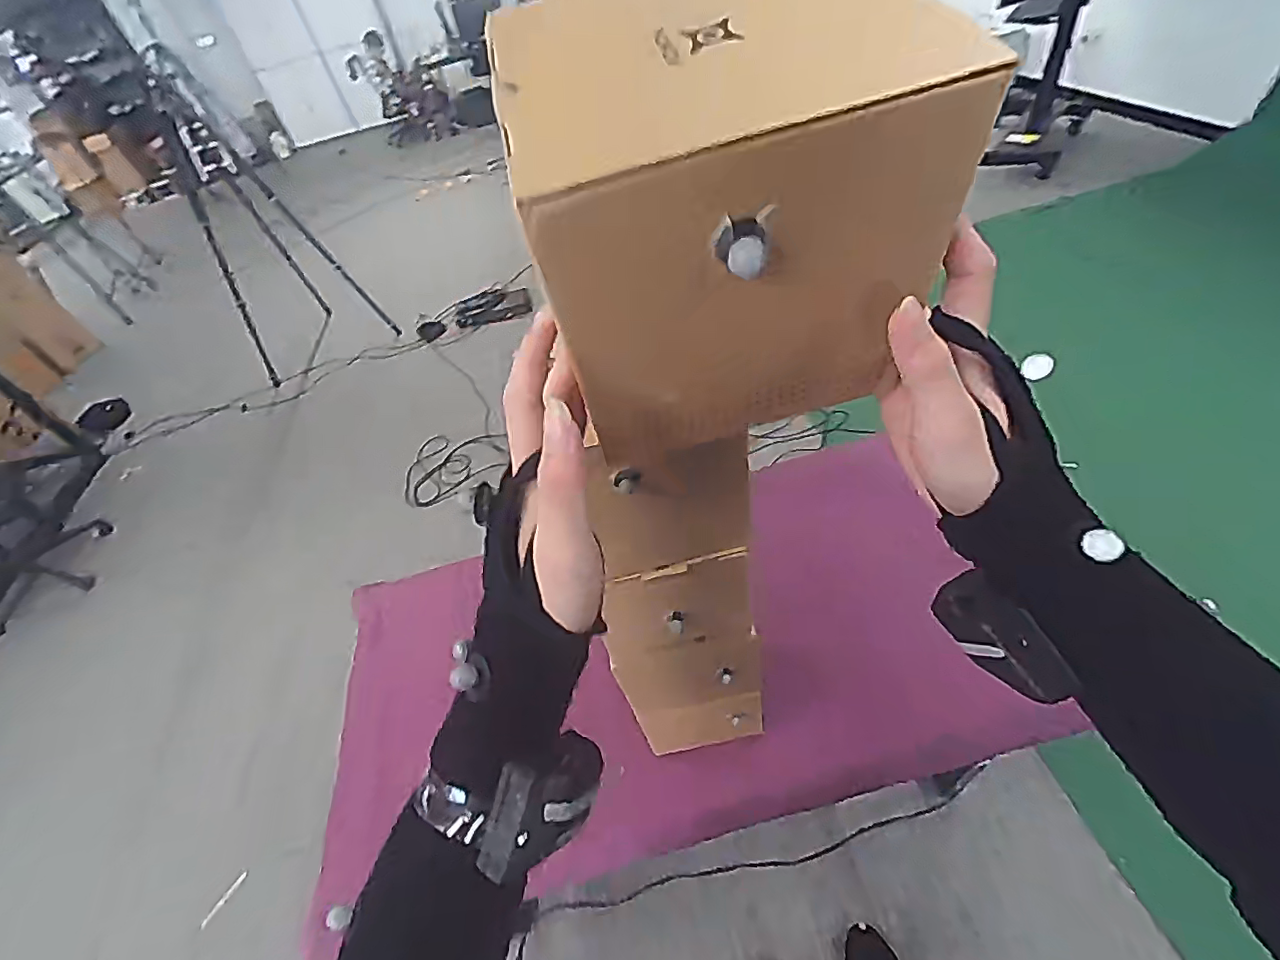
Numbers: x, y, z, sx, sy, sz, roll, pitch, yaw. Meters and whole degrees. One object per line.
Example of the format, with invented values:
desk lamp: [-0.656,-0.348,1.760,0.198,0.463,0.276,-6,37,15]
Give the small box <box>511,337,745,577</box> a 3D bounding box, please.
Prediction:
small box: [-0.009,-0.031,0.510,0.179,0.176,0.168,-14,45,0]

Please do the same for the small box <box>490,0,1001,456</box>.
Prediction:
small box: [0.038,-0.138,0.294,0.179,0.176,0.168,-16,58,3]

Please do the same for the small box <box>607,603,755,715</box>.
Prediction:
small box: [0.052,0.197,0.737,0.179,0.176,0.168,-13,45,2]

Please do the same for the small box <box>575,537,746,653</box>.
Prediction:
small box: [0.021,0.082,0.626,0.168,0.176,0.179,-13,46,2]
